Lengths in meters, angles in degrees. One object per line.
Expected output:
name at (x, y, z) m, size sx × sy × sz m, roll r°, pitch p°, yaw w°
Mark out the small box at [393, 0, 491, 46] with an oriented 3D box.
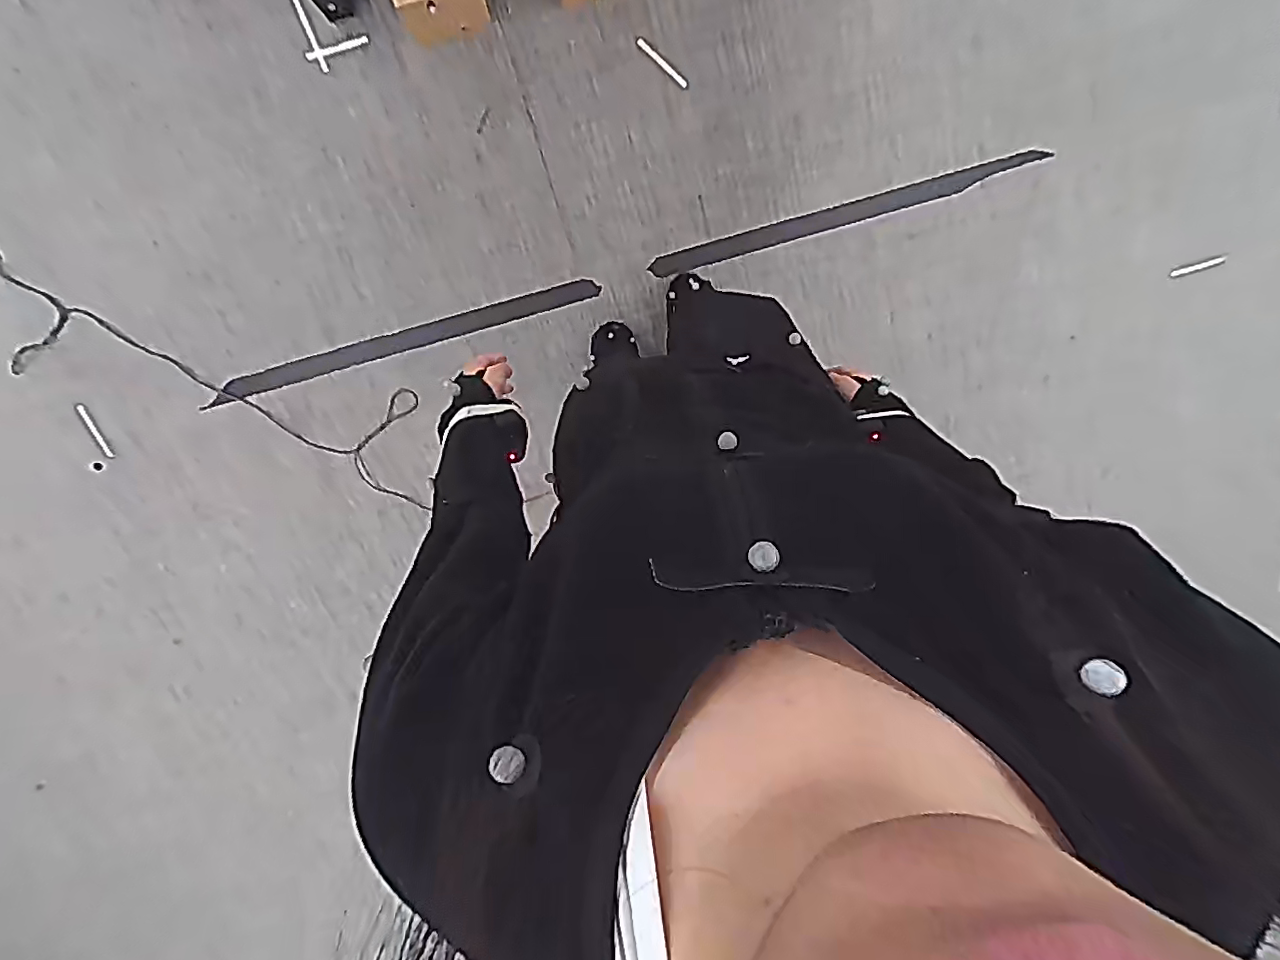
small box at (-0.407, -1.005, 1.059) m, size 0.168 × 0.176 × 0.179 m, roll -15°, pitch 108°, yaw -1°
